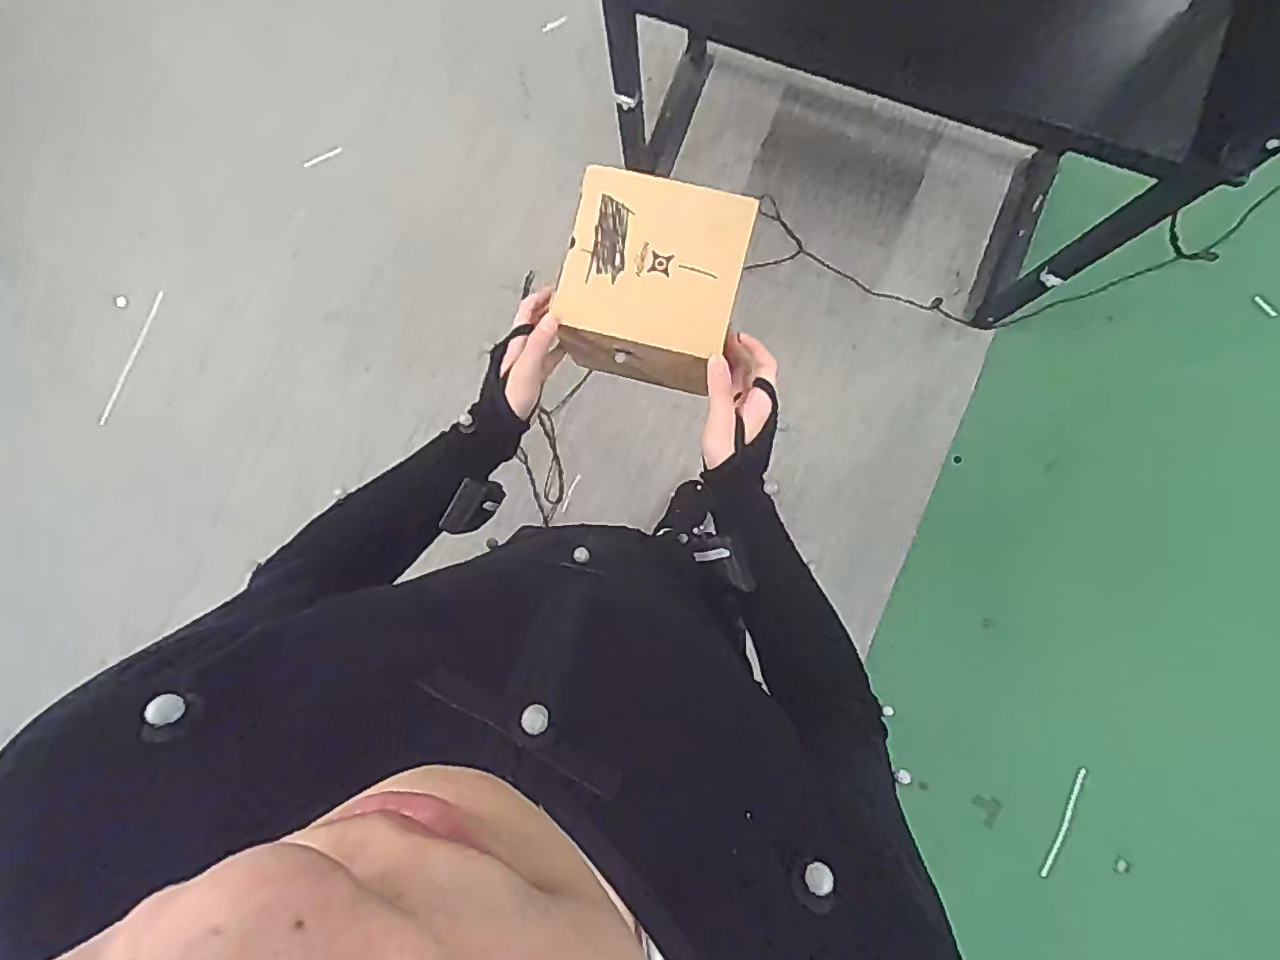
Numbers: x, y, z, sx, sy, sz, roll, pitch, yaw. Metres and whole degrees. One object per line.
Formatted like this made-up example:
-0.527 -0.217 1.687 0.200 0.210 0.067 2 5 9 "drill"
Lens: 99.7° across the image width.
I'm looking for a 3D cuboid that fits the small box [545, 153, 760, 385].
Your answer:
0.016 -0.216 0.598 0.179 0.176 0.168 15 88 4 "small box"
